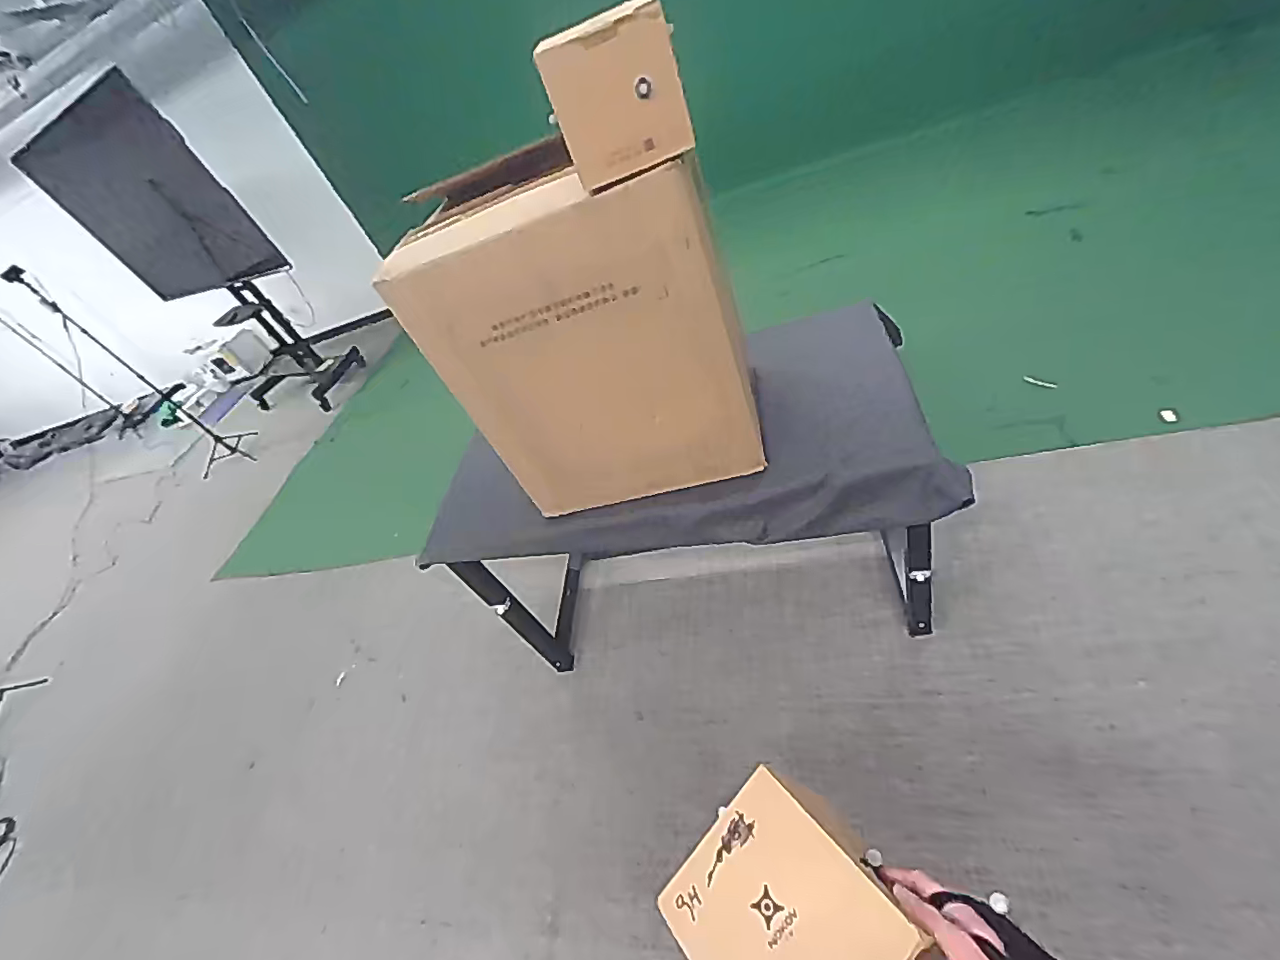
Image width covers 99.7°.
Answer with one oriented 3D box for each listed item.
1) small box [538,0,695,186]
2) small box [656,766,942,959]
[{"bbox_3d":[-0.027,-0.540,0.759,0.168,0.176,0.179,-16,42,10],"label":"small box"},{"bbox_3d":[0.155,0.414,0.516,0.168,0.176,0.179,-49,42,-6],"label":"small box"}]
